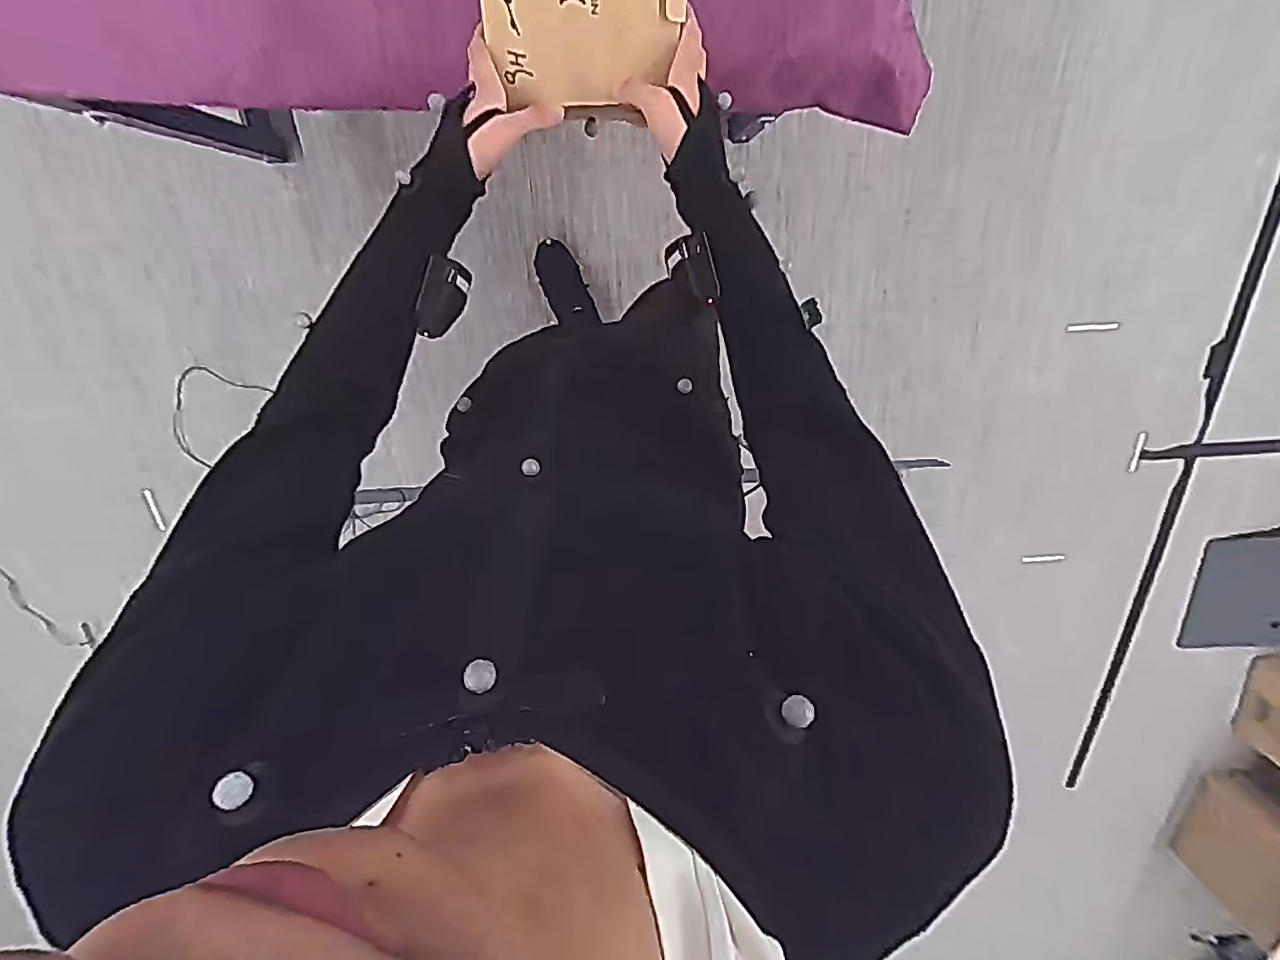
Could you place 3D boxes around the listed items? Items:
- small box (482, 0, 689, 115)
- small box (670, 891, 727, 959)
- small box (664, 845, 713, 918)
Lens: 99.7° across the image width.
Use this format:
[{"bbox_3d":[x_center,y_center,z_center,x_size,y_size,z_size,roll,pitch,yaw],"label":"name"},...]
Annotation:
[{"bbox_3d":[-0.051,-0.454,0.513,0.179,0.176,0.168,-2,120,-3],"label":"small box"},{"bbox_3d":[0.211,1.636,1.970,0.179,0.176,0.168,-8,114,-1],"label":"small box"},{"bbox_3d":[0.185,1.571,2.119,0.168,0.176,0.179,-1,113,-4],"label":"small box"}]
